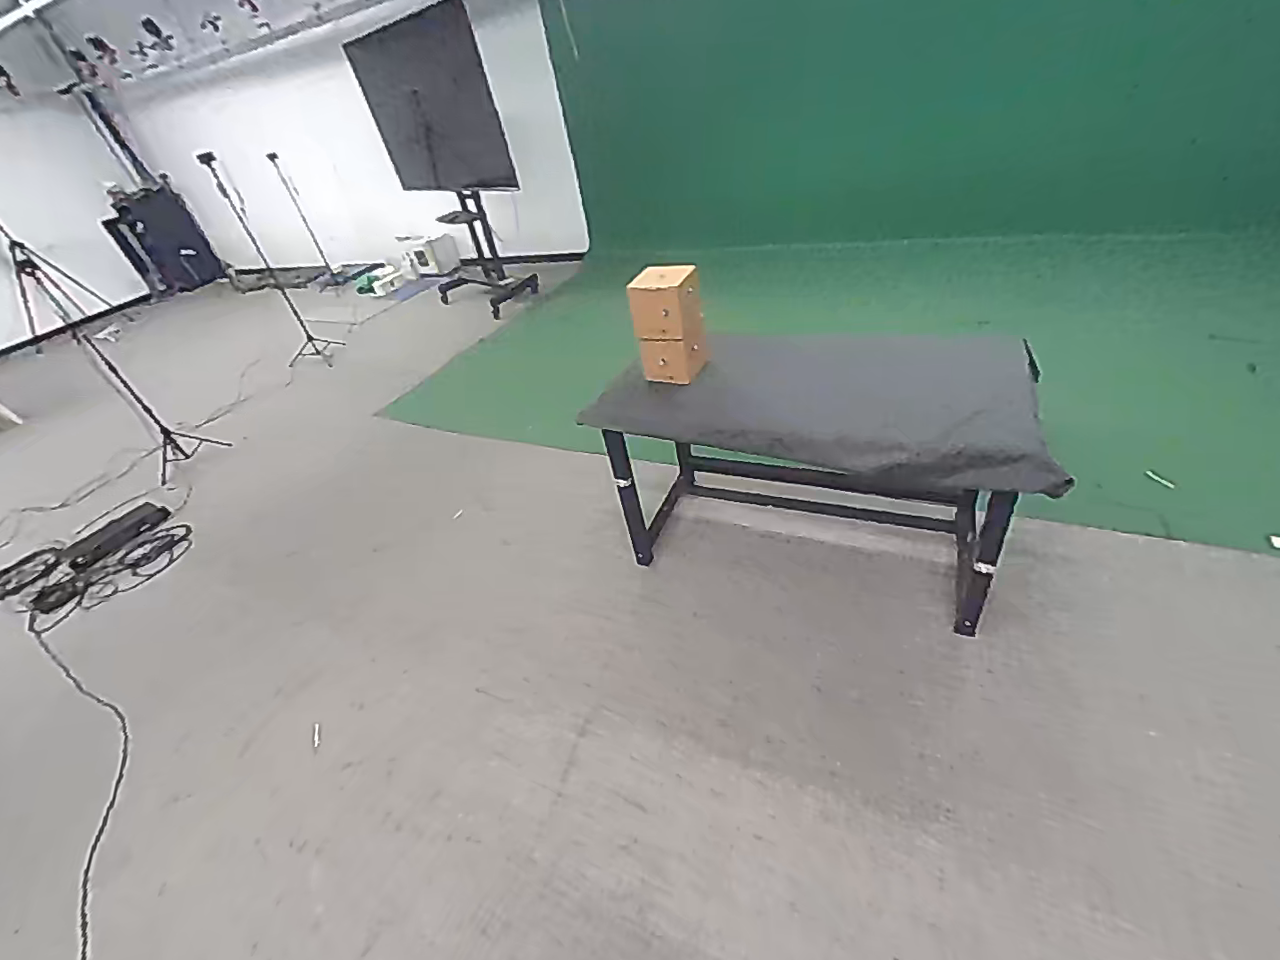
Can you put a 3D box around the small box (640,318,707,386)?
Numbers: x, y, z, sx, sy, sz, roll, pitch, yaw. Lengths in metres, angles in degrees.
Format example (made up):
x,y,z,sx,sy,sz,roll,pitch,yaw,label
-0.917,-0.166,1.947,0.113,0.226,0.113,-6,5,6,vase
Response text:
x,y,z,sx,sy,sz,roll,pitch,yaw,label
0.120,-0.433,1.820,0.168,0.176,0.179,11,44,26,small box

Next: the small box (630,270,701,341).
x,y,z,sx,sy,sz,roll,pitch,yaw,label
0.087,-0.551,1.711,0.168,0.176,0.179,9,42,24,small box
